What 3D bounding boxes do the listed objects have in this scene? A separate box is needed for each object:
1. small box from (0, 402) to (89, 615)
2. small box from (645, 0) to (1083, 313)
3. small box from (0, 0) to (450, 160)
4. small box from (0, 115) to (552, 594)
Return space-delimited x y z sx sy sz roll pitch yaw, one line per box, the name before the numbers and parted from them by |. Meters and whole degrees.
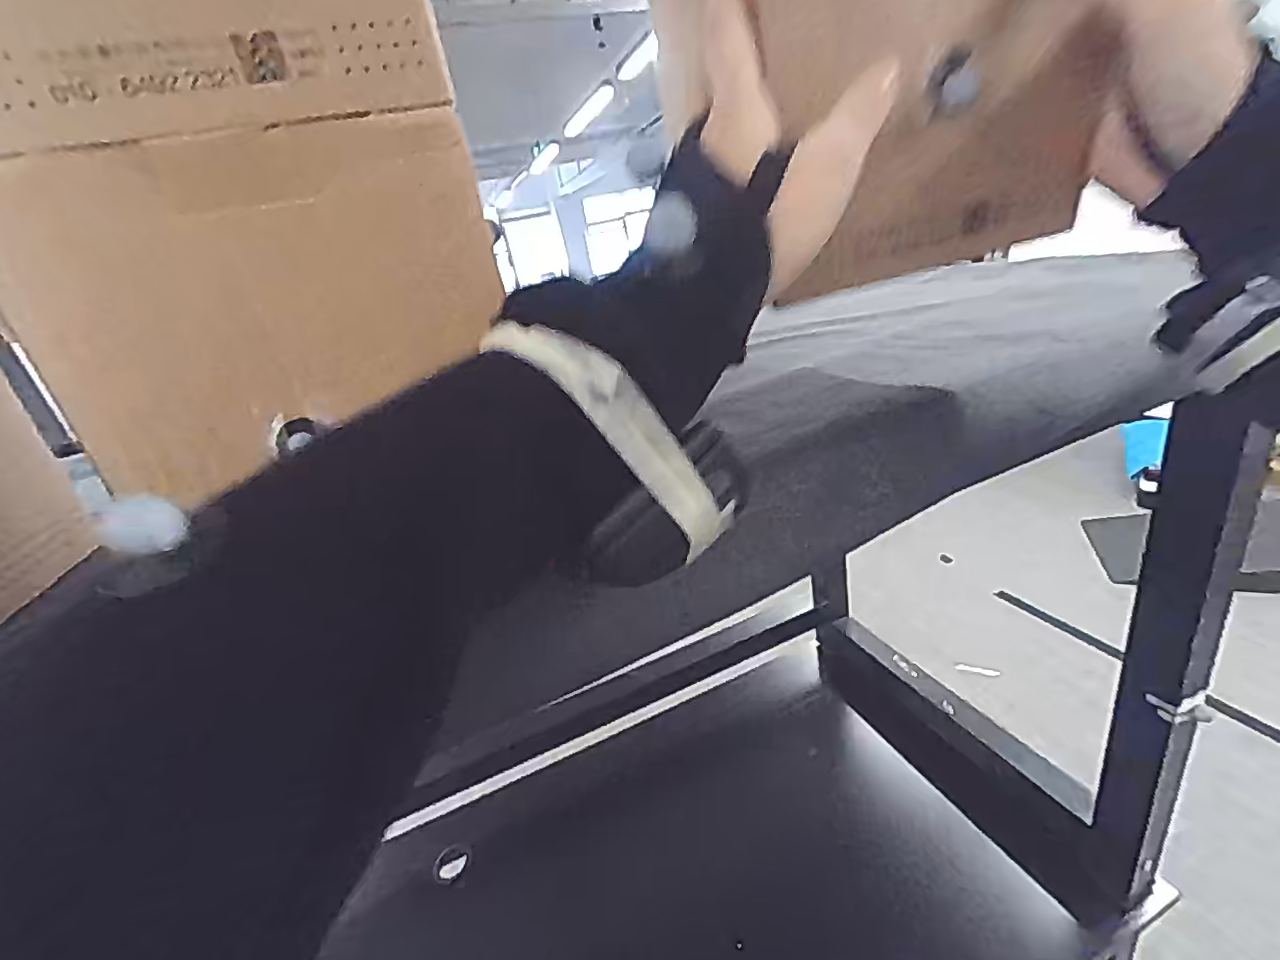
small box | -0.390 0.014 0.214 0.168 0.176 0.179 -19 21 -19
small box | 0.112 -0.207 0.311 0.168 0.176 0.179 -15 32 -4
small box | -0.192 -0.218 0.238 0.168 0.176 0.179 -18 22 -14
small box | -0.160 -0.066 0.293 0.168 0.176 0.179 -19 22 -16
